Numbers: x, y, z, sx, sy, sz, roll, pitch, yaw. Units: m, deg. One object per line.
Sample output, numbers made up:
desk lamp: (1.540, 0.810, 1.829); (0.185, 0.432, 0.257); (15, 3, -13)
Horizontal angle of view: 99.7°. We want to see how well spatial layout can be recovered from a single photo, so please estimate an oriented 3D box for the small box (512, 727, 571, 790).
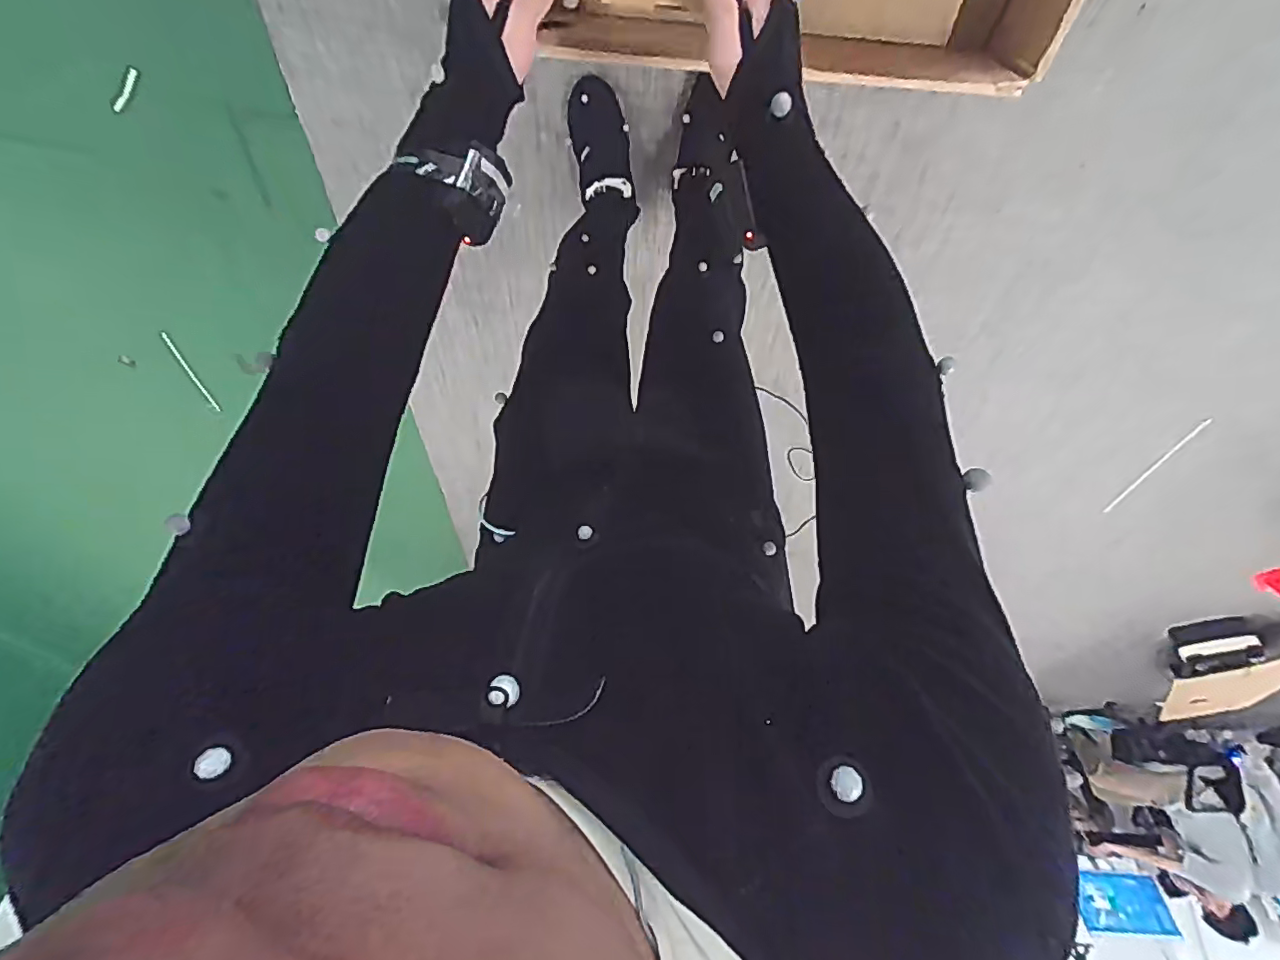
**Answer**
small box: (-0.346, 0.995, 1.935); (0.179, 0.176, 0.168); (3, 141, -1)
